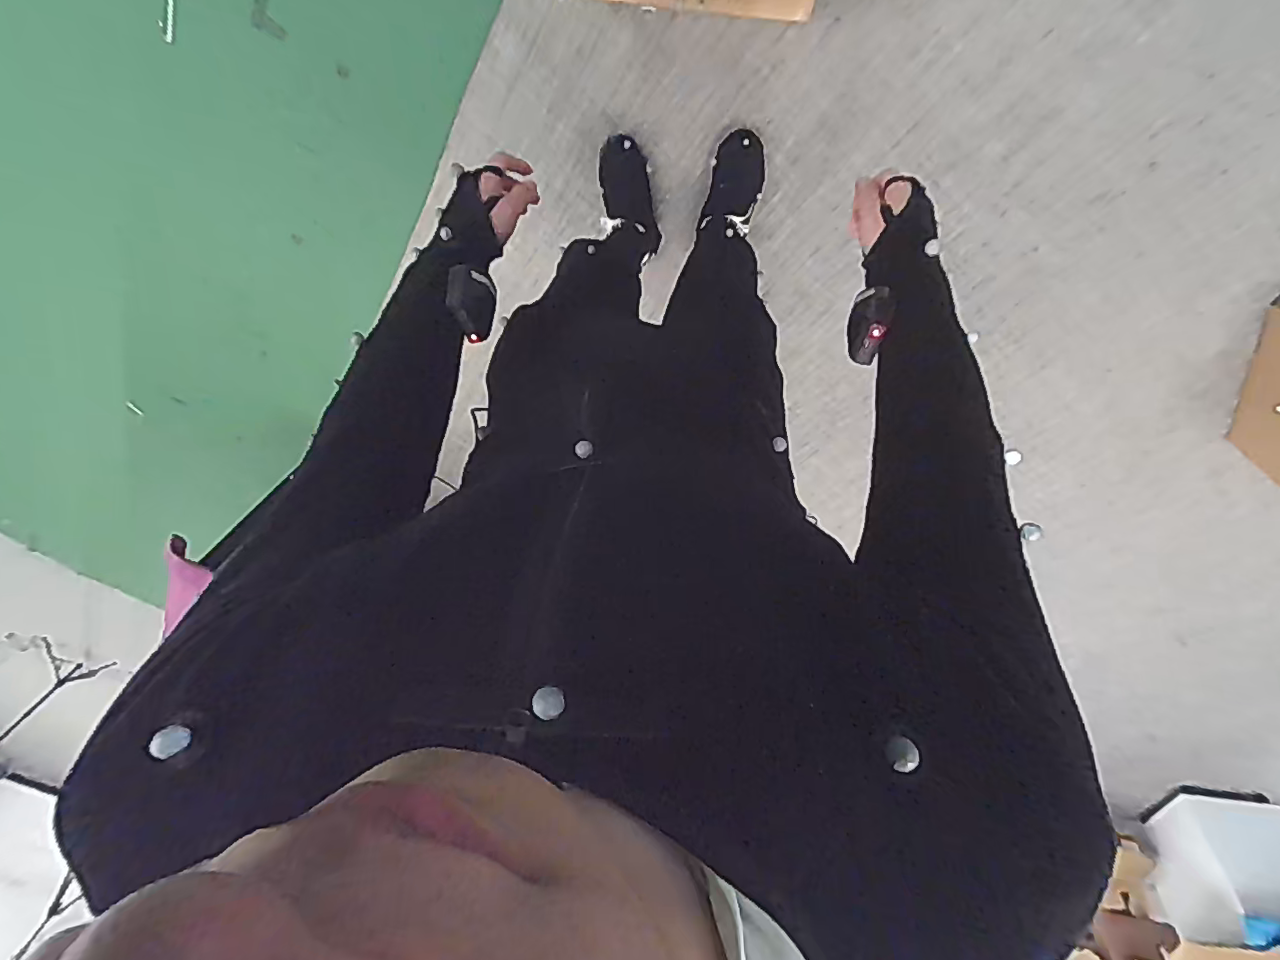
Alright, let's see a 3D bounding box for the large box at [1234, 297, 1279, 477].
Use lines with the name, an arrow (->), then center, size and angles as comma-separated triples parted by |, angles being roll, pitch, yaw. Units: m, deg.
large box -> 1.628, -0.199, 1.180 | 0.320, 0.320, 0.408 | -11, 126, 21
